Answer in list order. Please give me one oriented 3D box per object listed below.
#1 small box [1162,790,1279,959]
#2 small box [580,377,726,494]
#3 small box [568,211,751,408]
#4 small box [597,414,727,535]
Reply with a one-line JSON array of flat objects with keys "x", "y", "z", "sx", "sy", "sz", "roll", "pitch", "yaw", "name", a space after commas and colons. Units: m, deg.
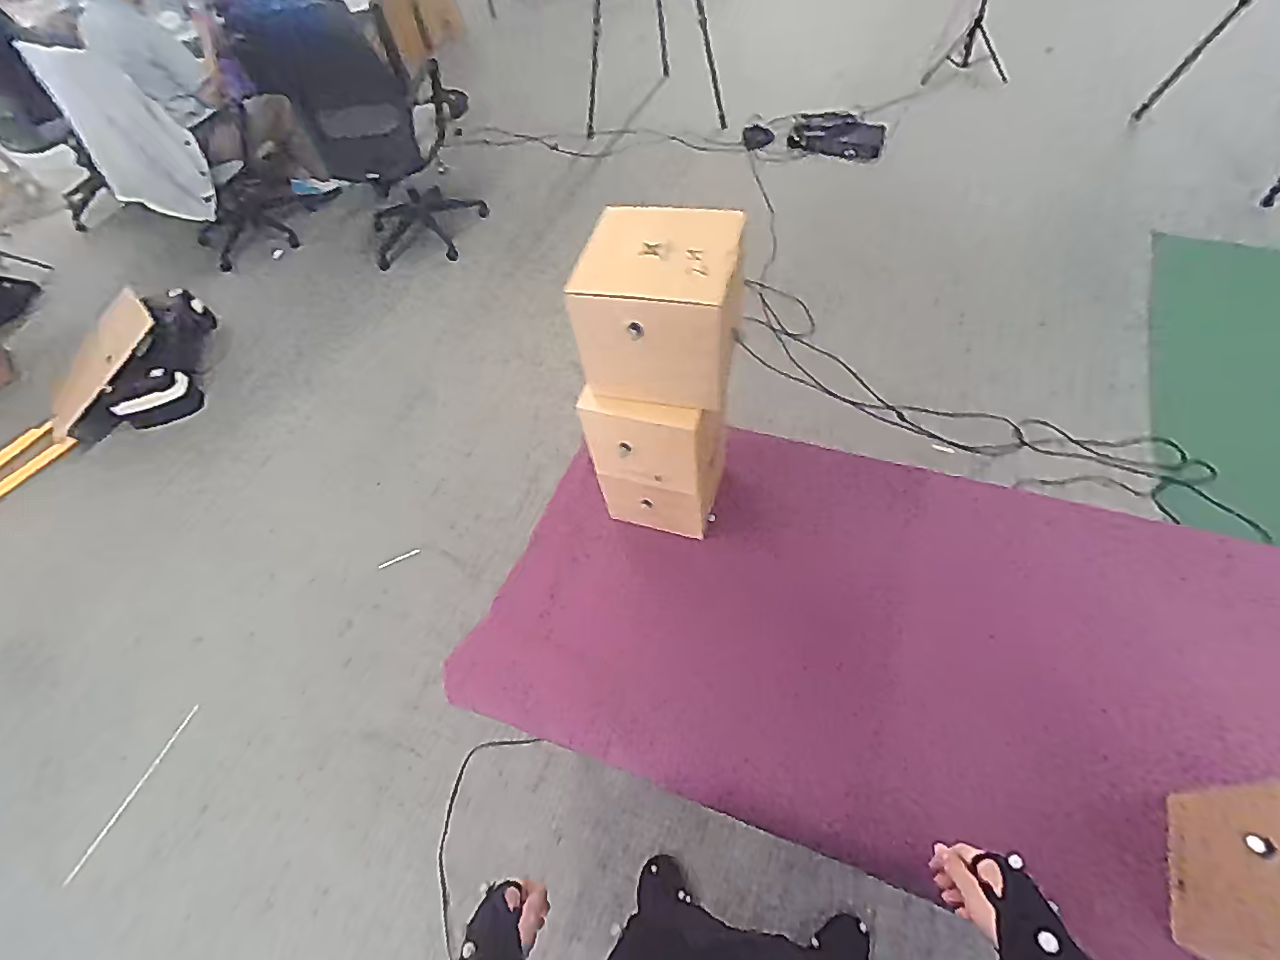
[{"x": 0.698, "y": 0.445, "z": 0.554, "sx": 0.179, "sy": 0.176, "sz": 0.168, "roll": 19, "pitch": 61, "yaw": 19, "name": "small box"}, {"x": 0.032, "y": -0.102, "z": 0.805, "sx": 0.168, "sy": 0.176, "sz": 0.179, "roll": 13, "pitch": 59, "yaw": 15, "name": "small box"}, {"x": 0.034, "y": -0.209, "z": 0.677, "sx": 0.179, "sy": 0.176, "sz": 0.168, "roll": 10, "pitch": 59, "yaw": 14, "name": "small box"}, {"x": 0.047, "y": -0.021, "z": 0.944, "sx": 0.179, "sy": 0.176, "sz": 0.168, "roll": 12, "pitch": 60, "yaw": 16, "name": "small box"}]
